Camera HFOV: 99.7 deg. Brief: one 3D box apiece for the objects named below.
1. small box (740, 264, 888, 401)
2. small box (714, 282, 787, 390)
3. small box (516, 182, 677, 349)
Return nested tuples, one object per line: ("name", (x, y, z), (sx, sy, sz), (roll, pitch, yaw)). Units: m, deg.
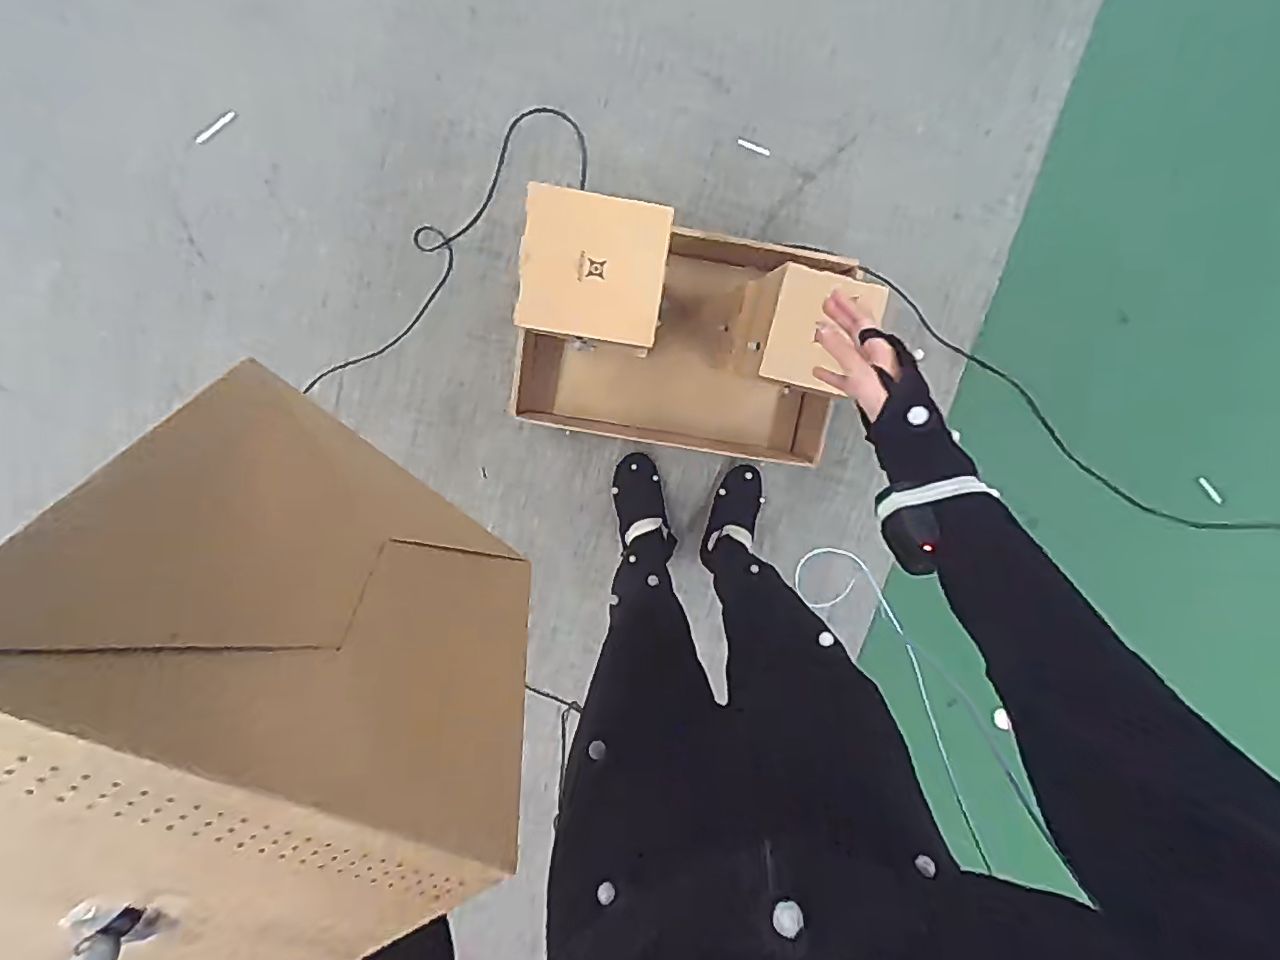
("small box", (0.279, -0.239, 0.912), (0.168, 0.176, 0.179), (13, 99, -6))
("small box", (0.258, -0.275, 1.072), (0.179, 0.176, 0.168), (13, 100, -4))
("small box", (-0.056, -0.274, 0.728), (0.179, 0.176, 0.168), (9, 102, -3))
